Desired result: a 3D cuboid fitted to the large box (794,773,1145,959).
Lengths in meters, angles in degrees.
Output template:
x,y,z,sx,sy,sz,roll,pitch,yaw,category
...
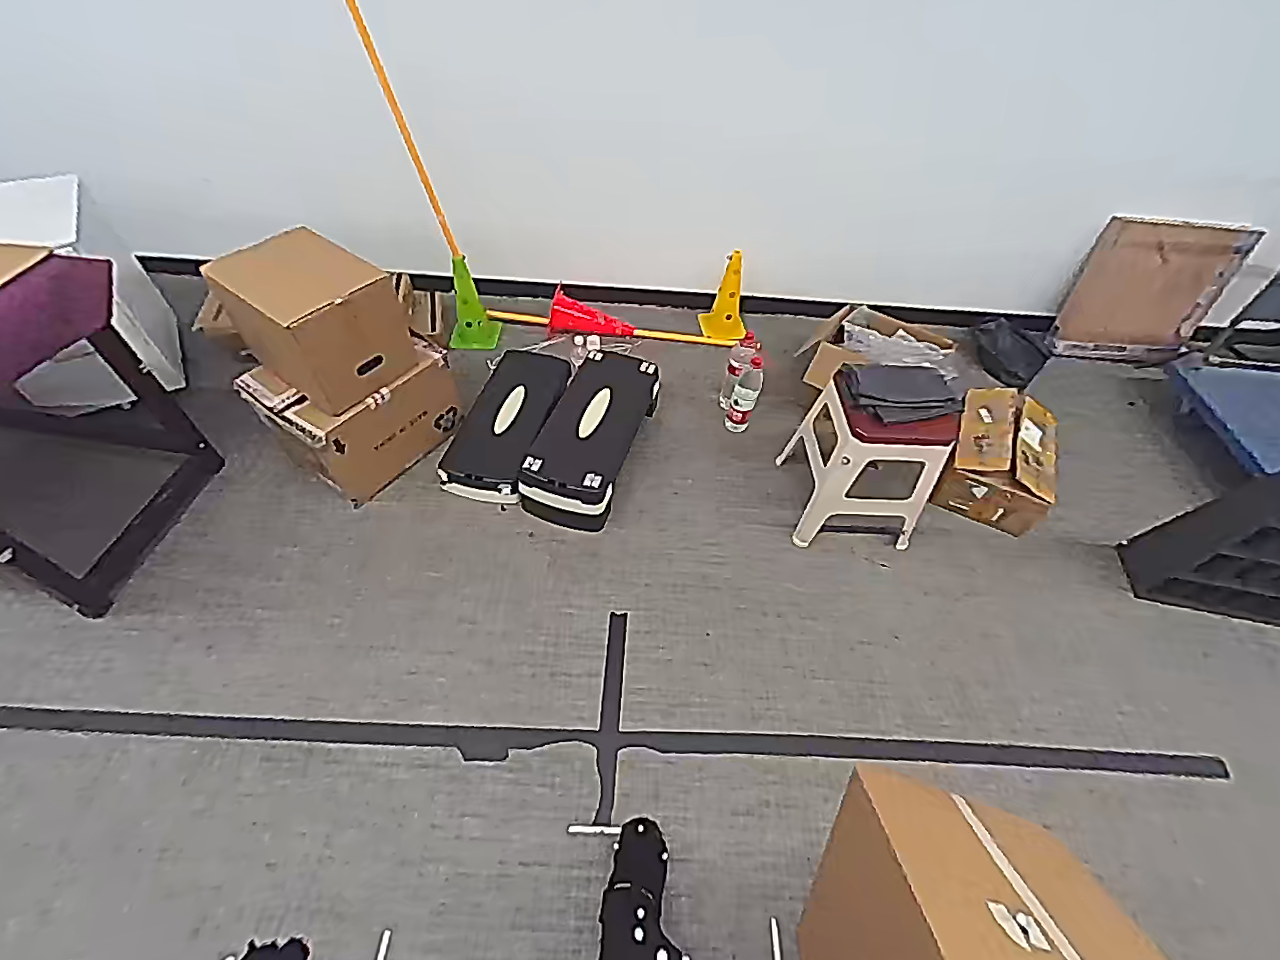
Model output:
x,y,z,sx,sy,sz,roll,pitch,yaw,category
0.416,0.668,0.670,0.320,0.408,0.320,18,95,6,large box
